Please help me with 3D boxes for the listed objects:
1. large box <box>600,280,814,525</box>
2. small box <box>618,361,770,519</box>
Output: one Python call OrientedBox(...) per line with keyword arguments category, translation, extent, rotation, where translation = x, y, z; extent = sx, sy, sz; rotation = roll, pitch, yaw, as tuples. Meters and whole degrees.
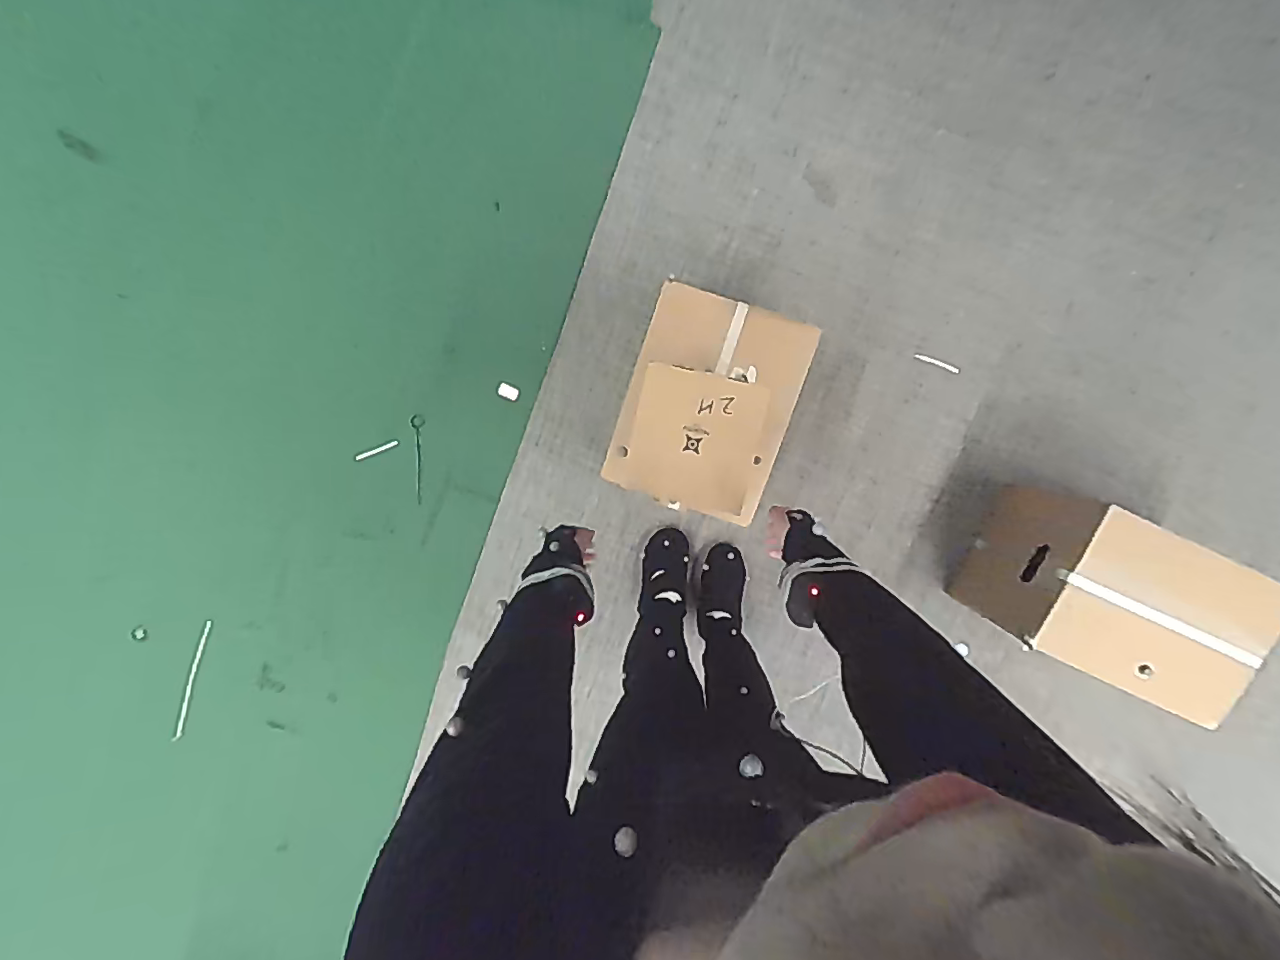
OrientedBox(category="large box", translation=(0.133, -0.154, 1.182), extent=(0.320, 0.320, 0.408), rotation=(19, 96, 1))
OrientedBox(category="small box", translation=(0.074, -0.059, 0.784), extent=(0.168, 0.176, 0.179), rotation=(14, 96, 1))
